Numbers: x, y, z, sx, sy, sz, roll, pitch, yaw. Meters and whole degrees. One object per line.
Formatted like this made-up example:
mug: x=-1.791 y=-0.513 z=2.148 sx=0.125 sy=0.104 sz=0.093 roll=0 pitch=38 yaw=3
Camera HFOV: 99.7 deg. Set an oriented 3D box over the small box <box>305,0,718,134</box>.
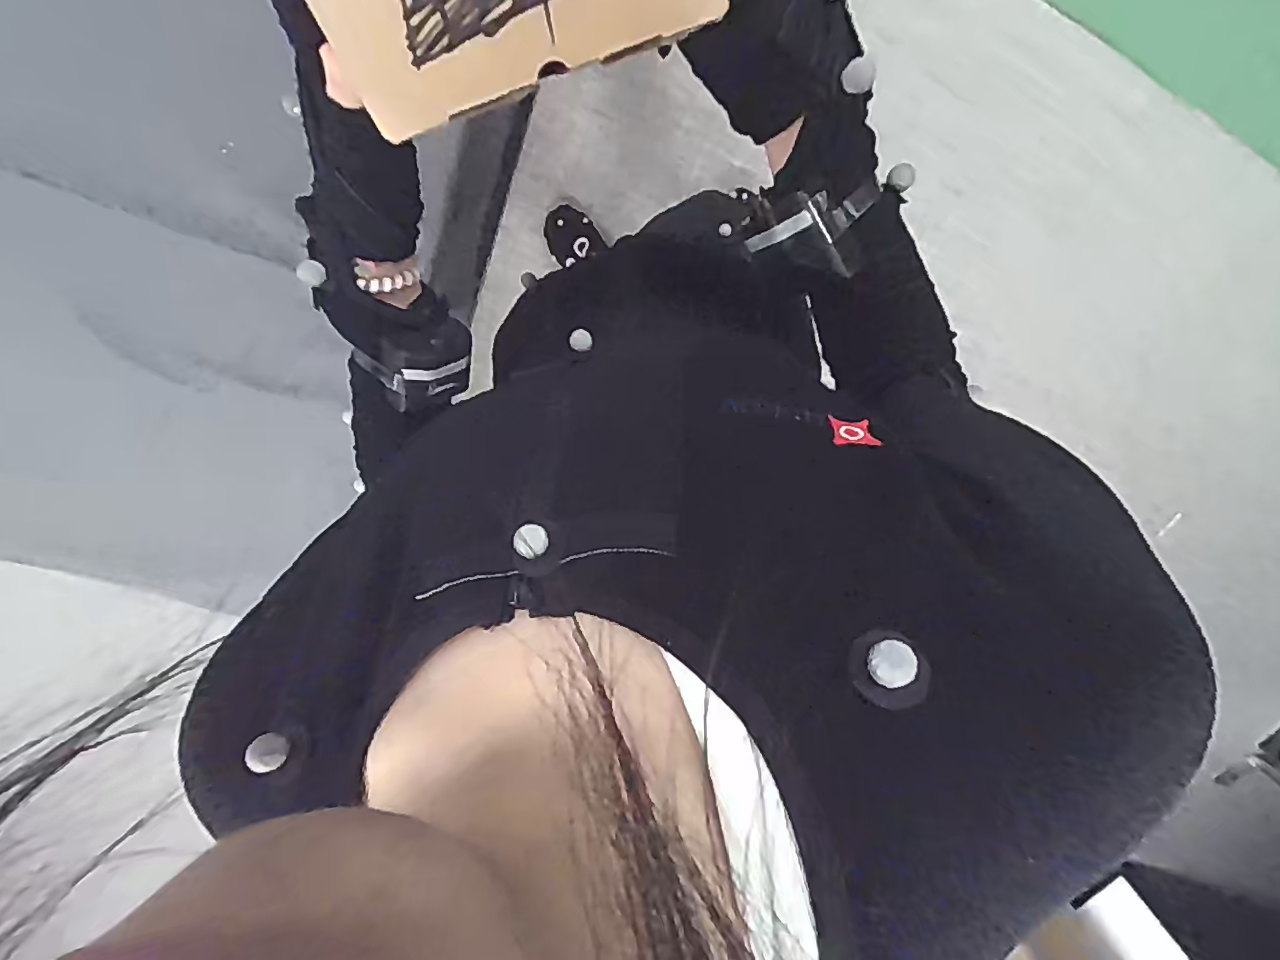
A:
small box: x=-0.077 y=-0.291 z=0.227 sx=0.168 sy=0.176 sz=0.179 roll=-19 pitch=140 yaw=2
